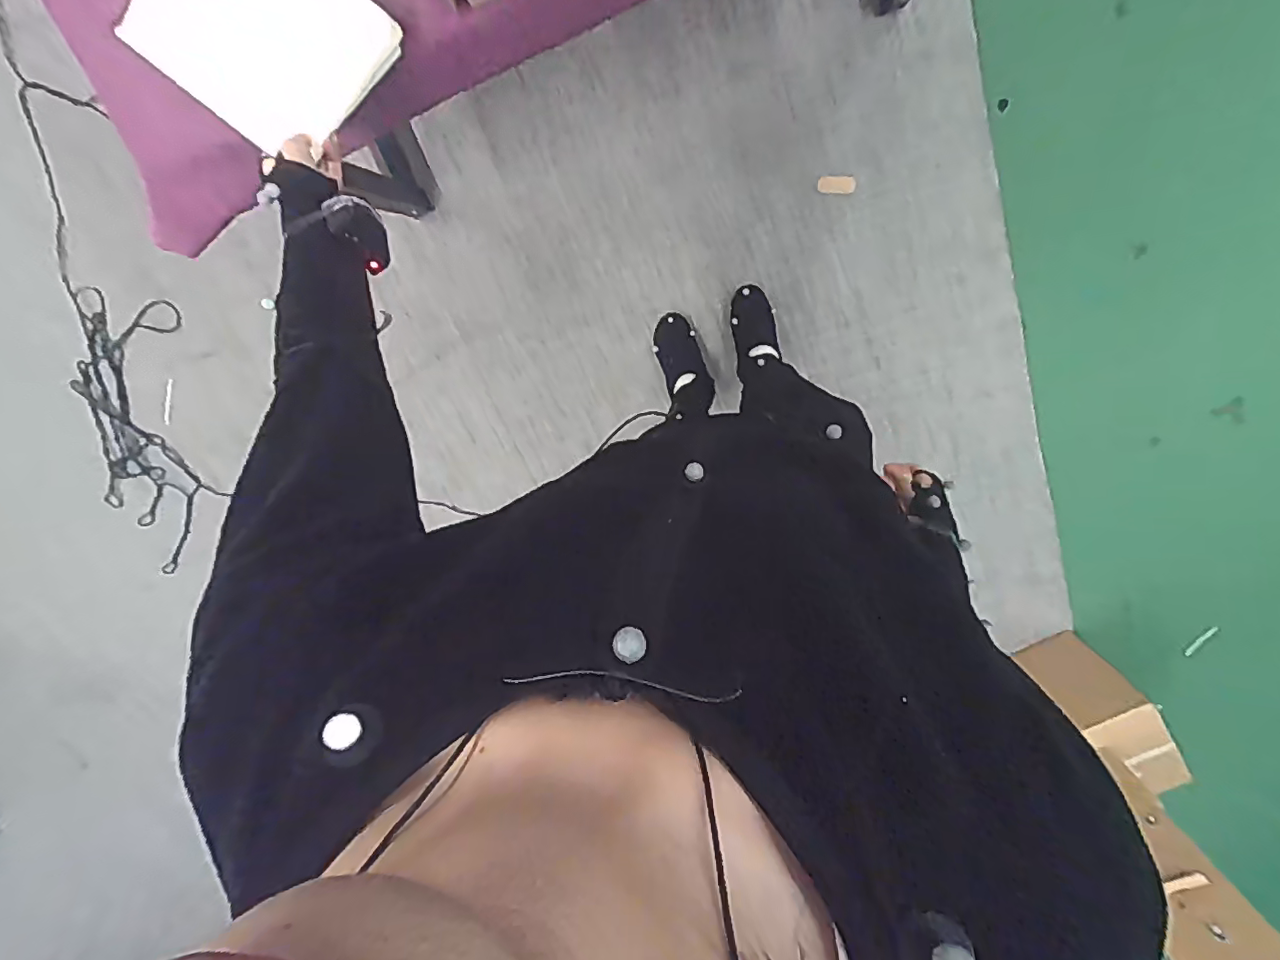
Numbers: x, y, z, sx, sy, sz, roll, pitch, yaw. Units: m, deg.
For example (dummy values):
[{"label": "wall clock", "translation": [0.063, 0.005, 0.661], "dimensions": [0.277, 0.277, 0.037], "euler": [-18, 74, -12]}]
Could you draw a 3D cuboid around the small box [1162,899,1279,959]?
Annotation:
[{"label": "small box", "translation": [1.164, 0.944, 1.032], "dimensions": [0.168, 0.176, 0.179], "euler": [-30, 103, 14]}]

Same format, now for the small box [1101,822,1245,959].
[{"label": "small box", "translation": [1.170, 0.889, 1.187], "dimensions": [0.168, 0.176, 0.179], "euler": [-28, 105, 13]}]
